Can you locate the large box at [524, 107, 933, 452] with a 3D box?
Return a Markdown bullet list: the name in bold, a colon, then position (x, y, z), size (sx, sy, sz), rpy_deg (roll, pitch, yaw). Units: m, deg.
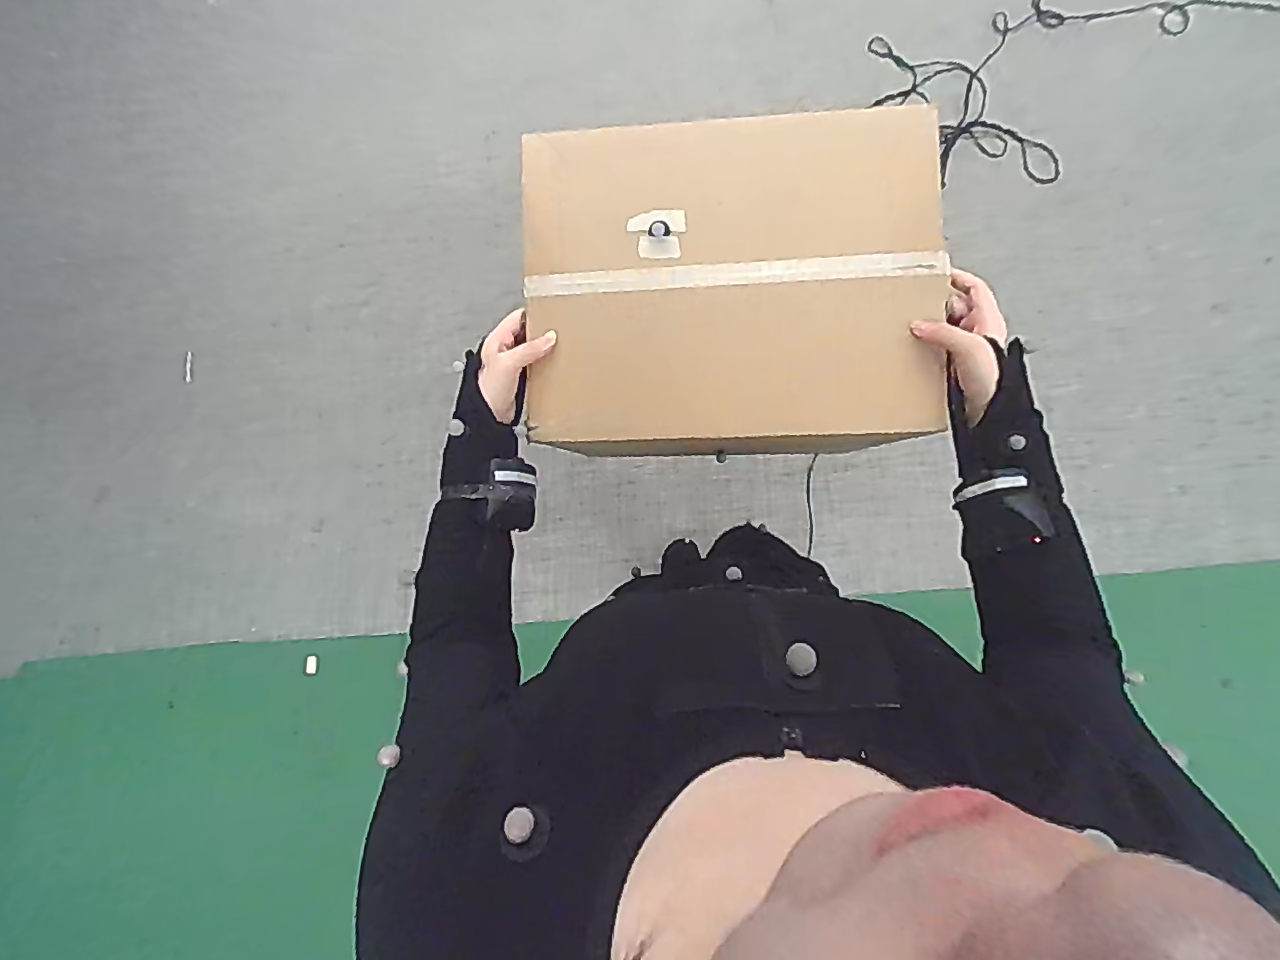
- **large box**: position (0.099, -0.201, 0.690), size (0.408, 0.320, 0.320), rpy_deg (-2, 89, 7)
